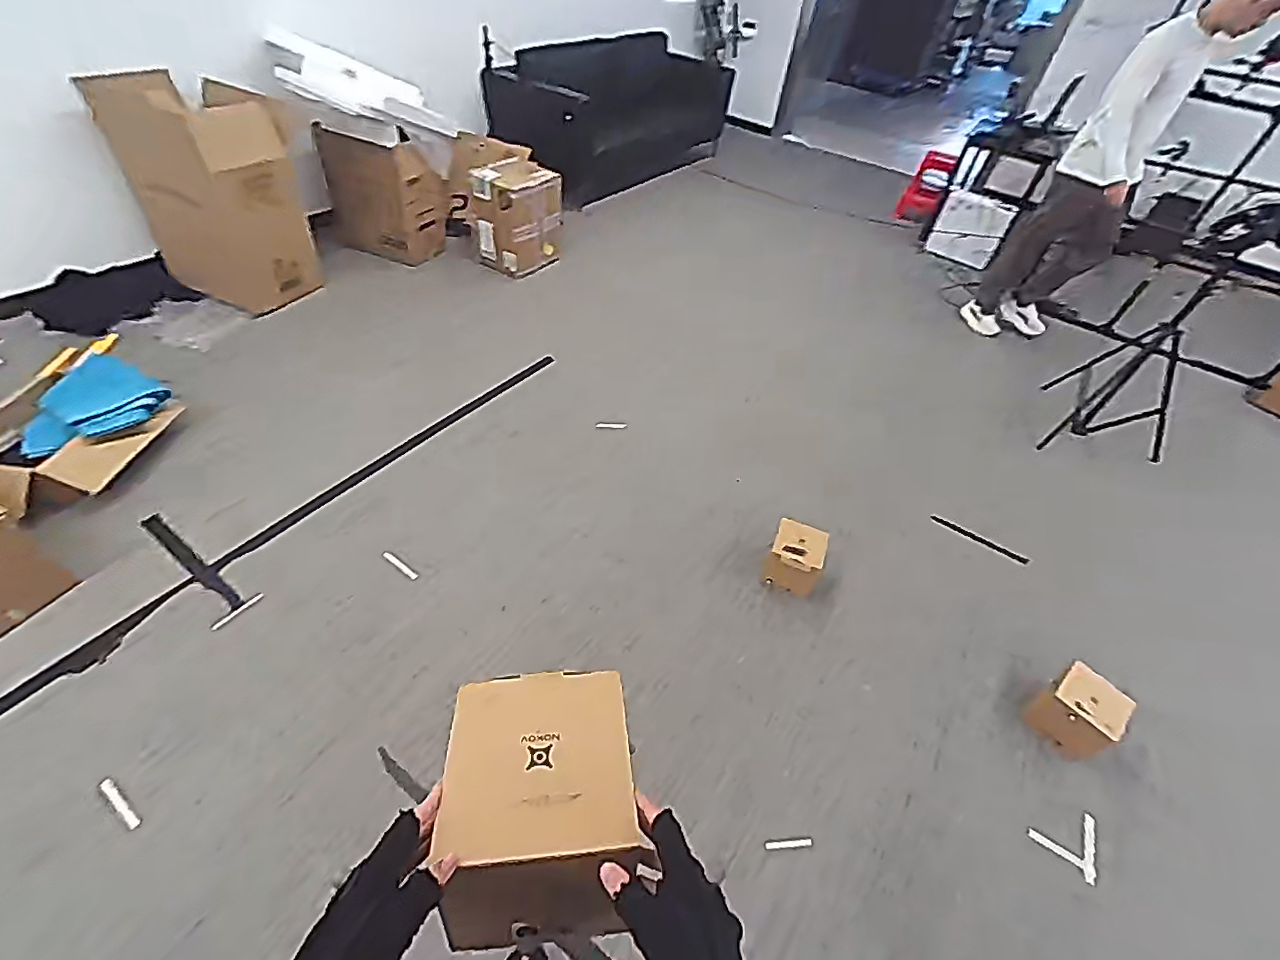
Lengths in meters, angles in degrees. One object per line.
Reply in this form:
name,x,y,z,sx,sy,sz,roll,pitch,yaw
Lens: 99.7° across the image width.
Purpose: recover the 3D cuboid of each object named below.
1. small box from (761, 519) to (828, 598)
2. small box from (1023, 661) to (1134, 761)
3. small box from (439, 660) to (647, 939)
small box,0.522,0.271,1.841,0.168,0.176,0.179,21,46,11
small box,1.262,0.669,1.565,0.179,0.176,0.168,-28,56,-31
small box,-0.090,0.306,0.535,0.168,0.176,0.179,-1,32,-8
